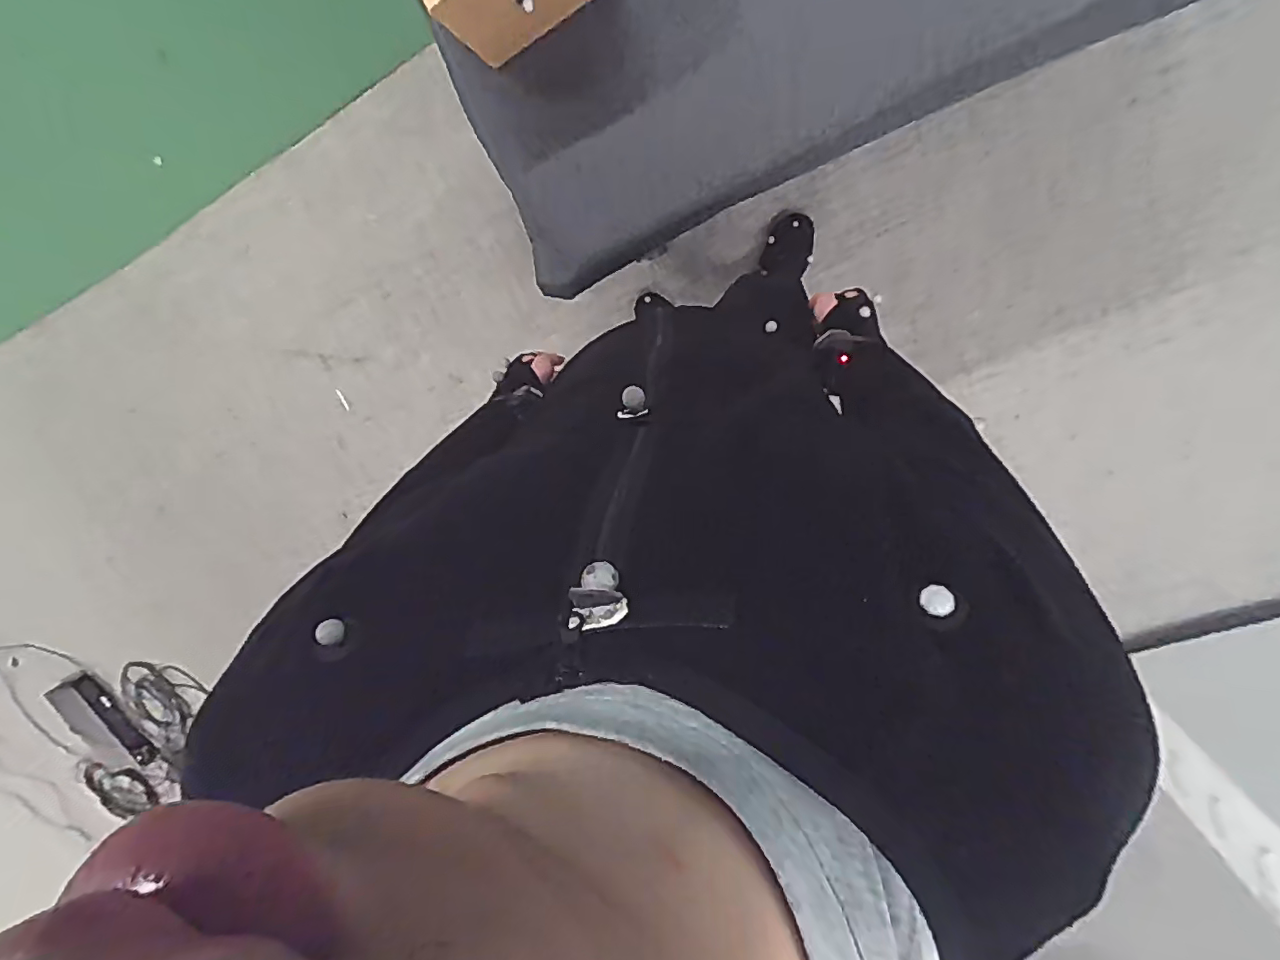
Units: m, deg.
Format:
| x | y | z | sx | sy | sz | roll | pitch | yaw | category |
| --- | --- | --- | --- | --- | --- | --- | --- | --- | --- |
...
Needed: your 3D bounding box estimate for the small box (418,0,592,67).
| x | y | z | sx | sy | sz | roll | pitch | yaw | category |
| --- | --- | --- | --- | --- | --- | --- | --- | --- | --- |
| -0.148 | -0.564 | 0.536 | 0.179 | 0.176 | 0.168 | -23 | 107 | 17 | small box |
